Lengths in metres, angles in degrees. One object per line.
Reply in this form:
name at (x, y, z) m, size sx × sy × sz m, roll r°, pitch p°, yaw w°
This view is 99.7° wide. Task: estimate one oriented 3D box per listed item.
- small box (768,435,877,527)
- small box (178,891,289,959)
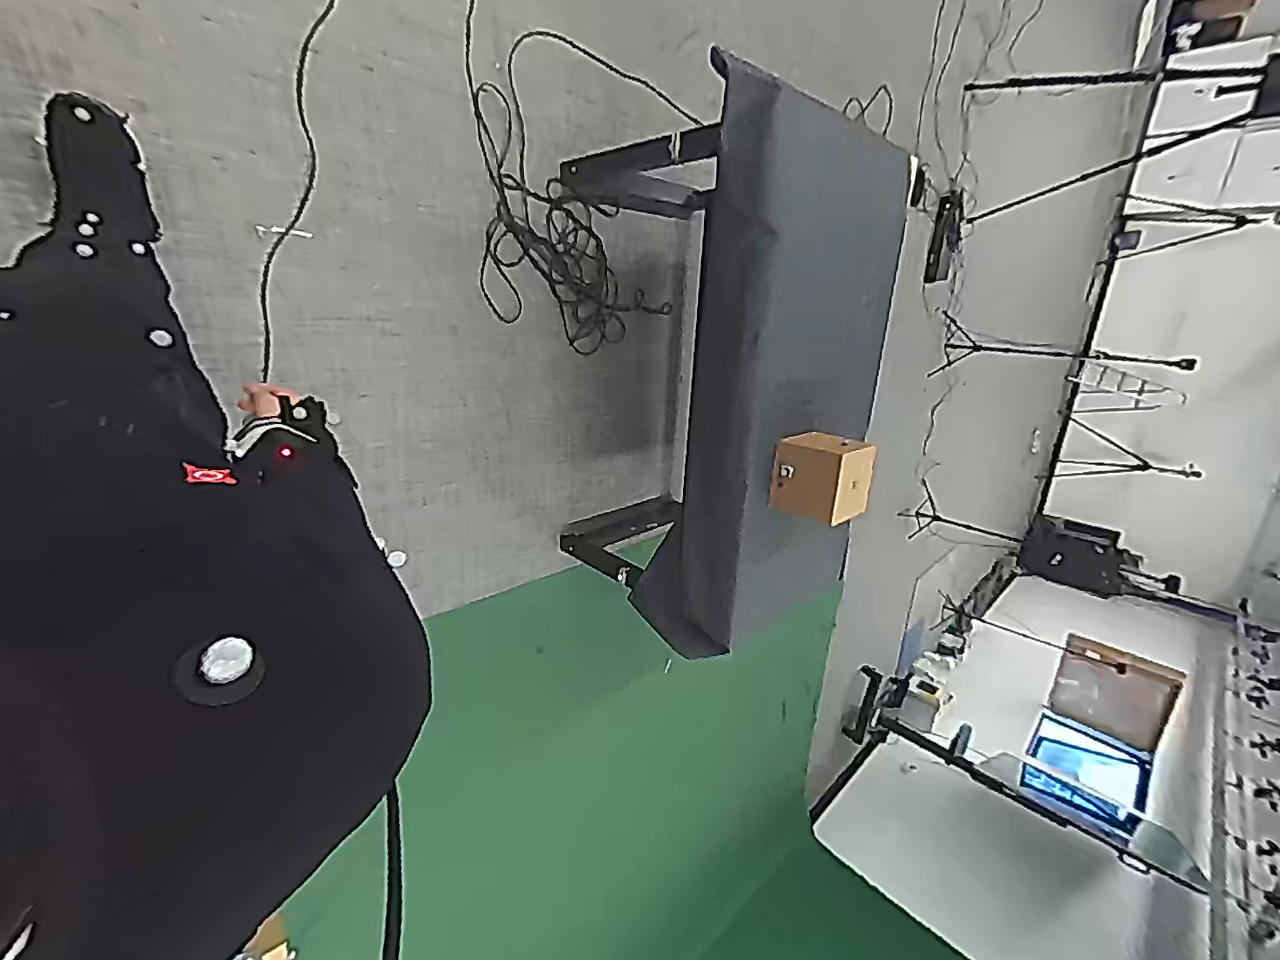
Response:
small box at (0.427, -0.007, 1.275) m, size 0.179 × 0.176 × 0.168 m, roll -13°, pitch 113°, yaw -42°
small box at (-0.875, 1.045, 1.170) m, size 0.168 × 0.176 × 0.179 m, roll -12°, pitch 113°, yaw -43°
